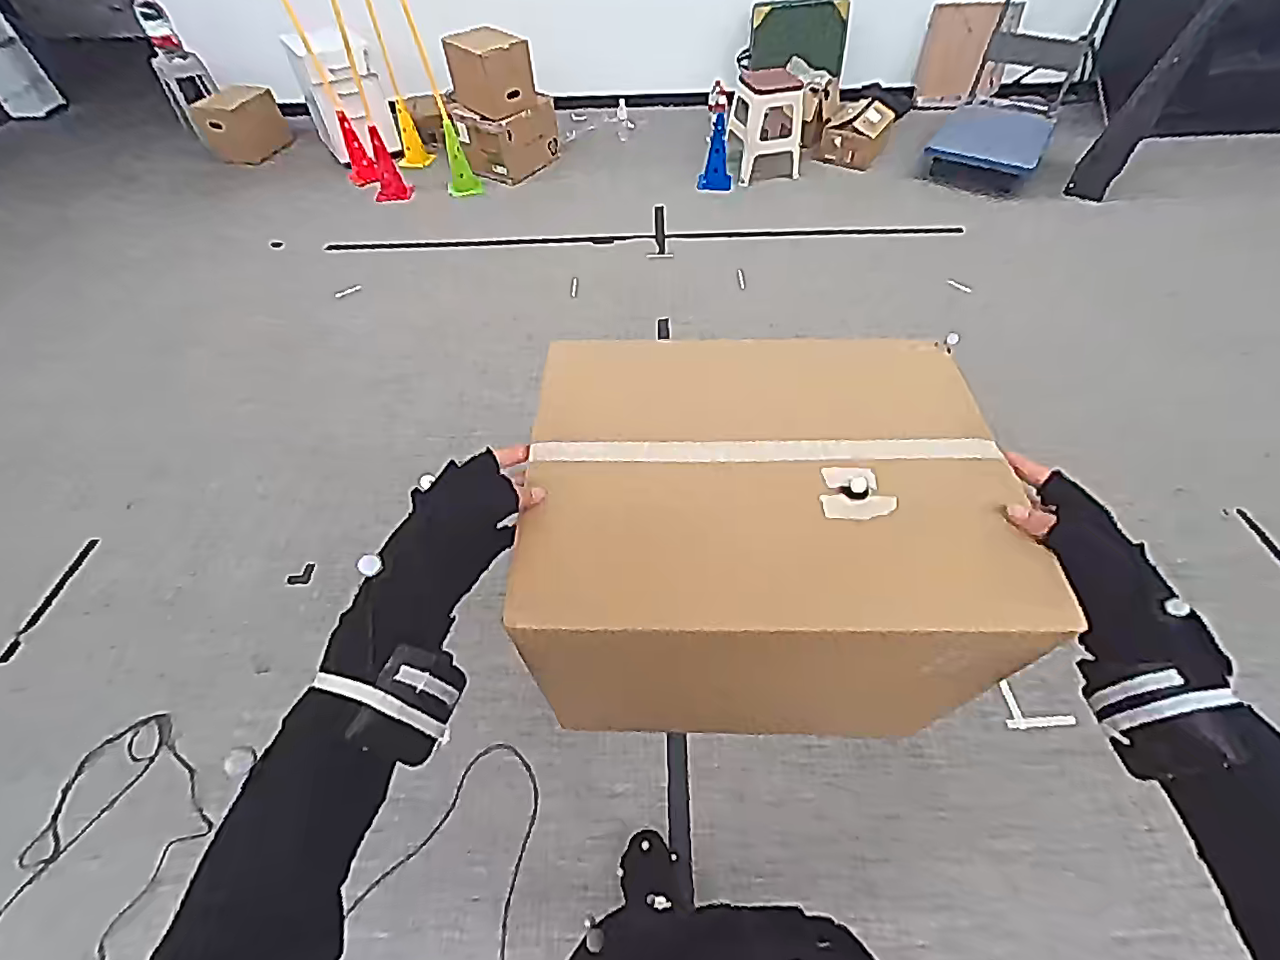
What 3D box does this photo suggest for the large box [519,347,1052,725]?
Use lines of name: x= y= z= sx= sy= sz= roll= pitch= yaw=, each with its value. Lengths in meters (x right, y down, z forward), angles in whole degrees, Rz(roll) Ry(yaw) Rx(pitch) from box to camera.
large box: x=0.106 y=0.071 z=0.604 sx=0.408 sy=0.320 sz=0.320 roll=0 pitch=53 yaw=1
